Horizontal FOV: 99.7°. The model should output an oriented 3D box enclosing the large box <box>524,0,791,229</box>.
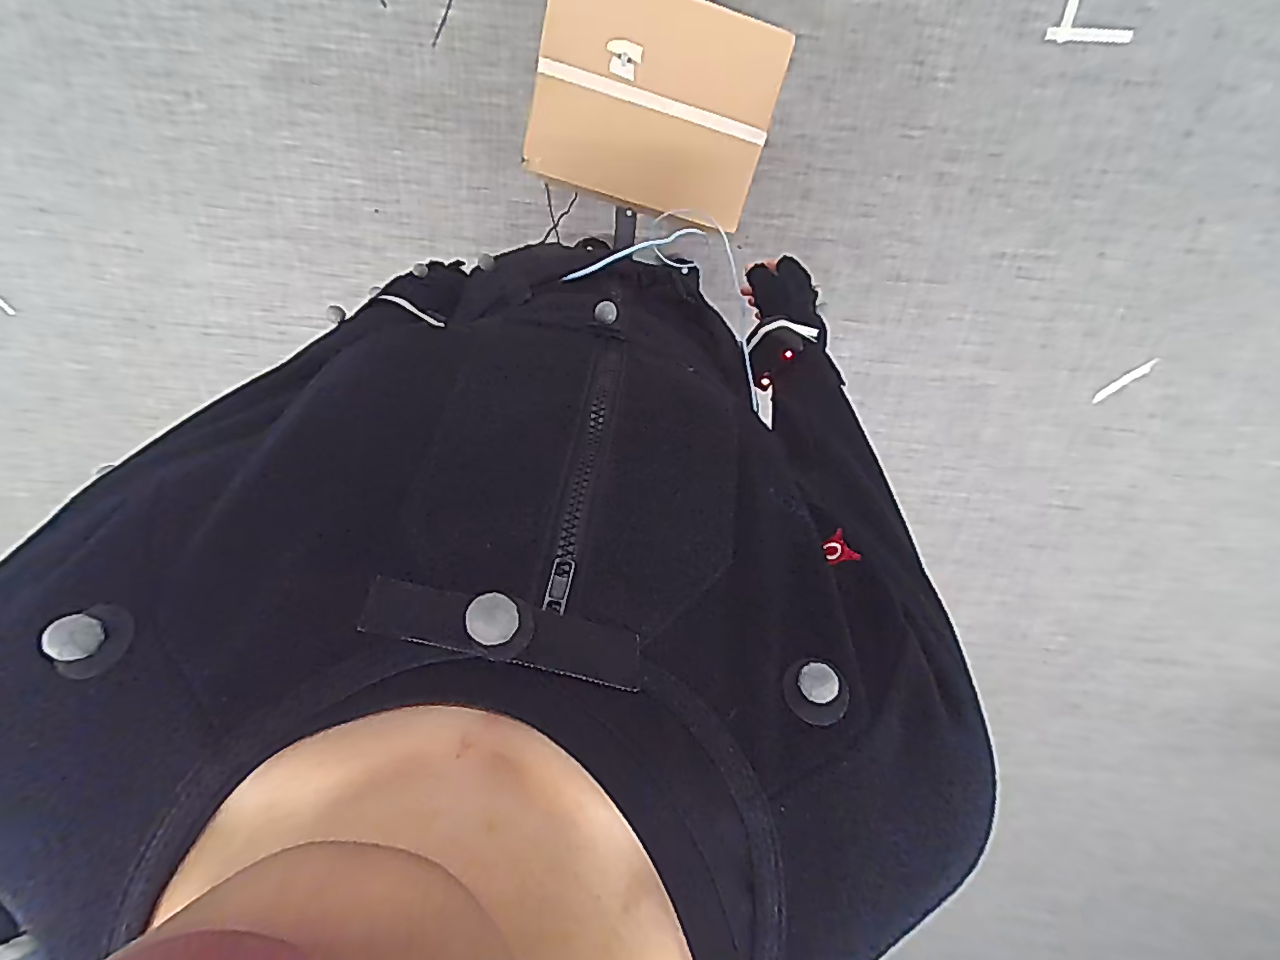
[{"bbox_3d":[0.023,-0.709,1.064,0.408,0.320,0.320,15,112,-7],"label":"large box"}]
